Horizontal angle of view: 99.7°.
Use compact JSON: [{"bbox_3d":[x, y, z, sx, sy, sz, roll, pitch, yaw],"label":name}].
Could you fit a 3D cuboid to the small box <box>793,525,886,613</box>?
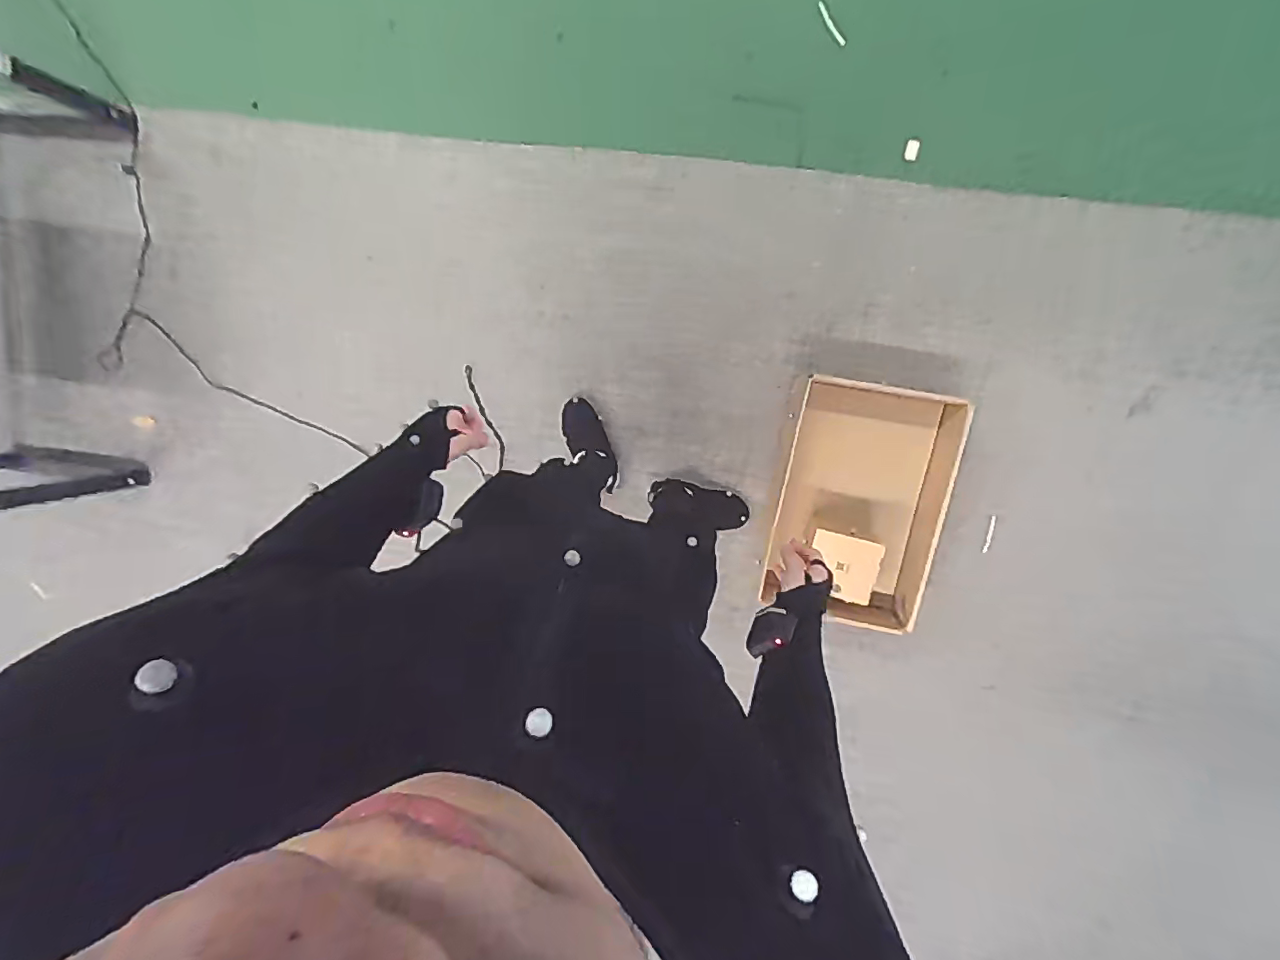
[{"bbox_3d":[0.517,0.226,1.433,0.179,0.176,0.168,14,100,6],"label":"small box"}]
